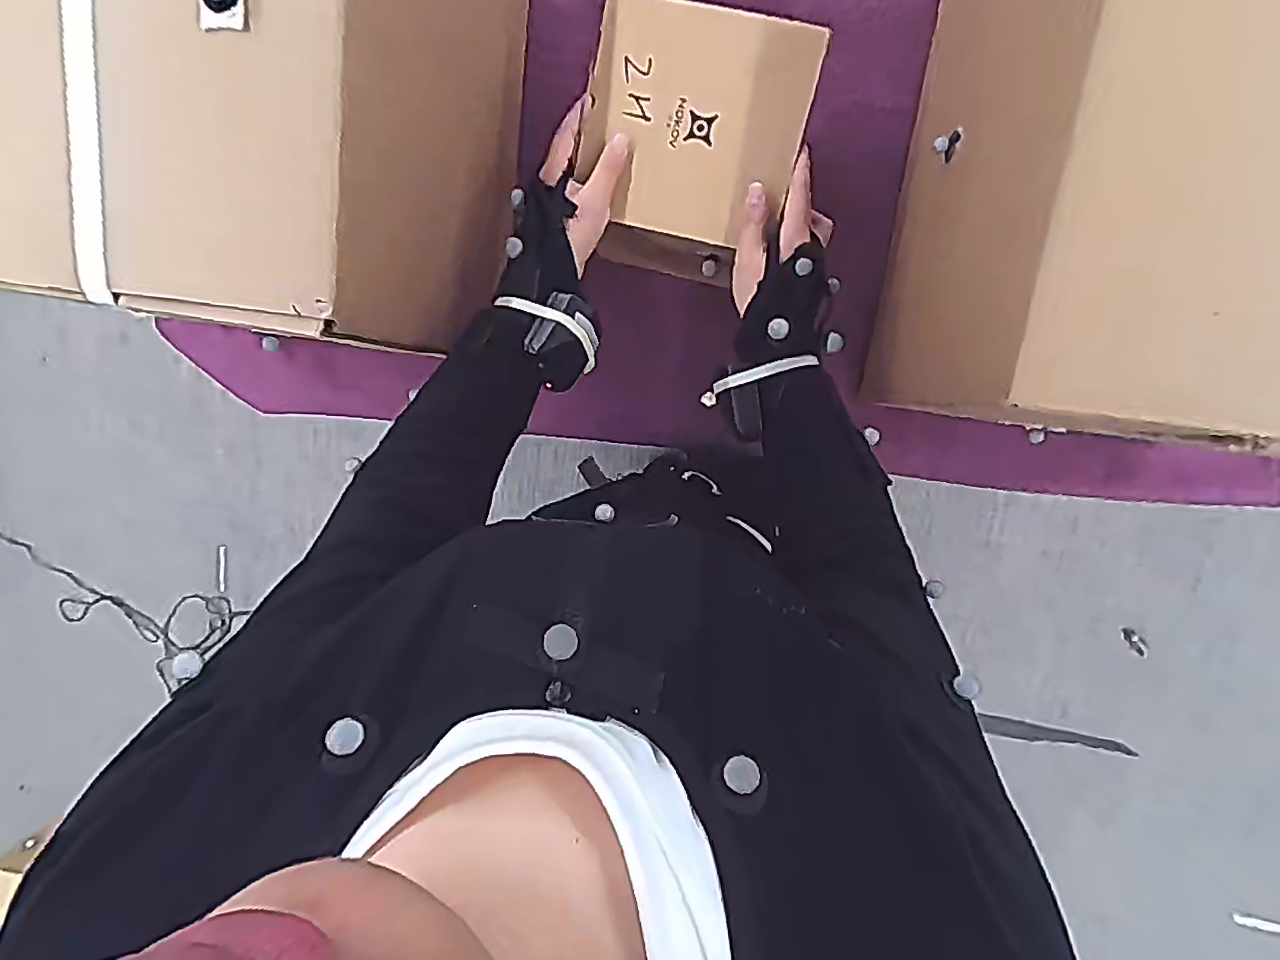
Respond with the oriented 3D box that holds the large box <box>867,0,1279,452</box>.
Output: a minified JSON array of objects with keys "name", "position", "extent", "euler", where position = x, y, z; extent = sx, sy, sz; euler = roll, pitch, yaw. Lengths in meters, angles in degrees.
[{"name":"large box","position":[0.390,-0.232,0.395],"extent":[0.320,0.320,0.408],"euler":[8,98,6]}]
